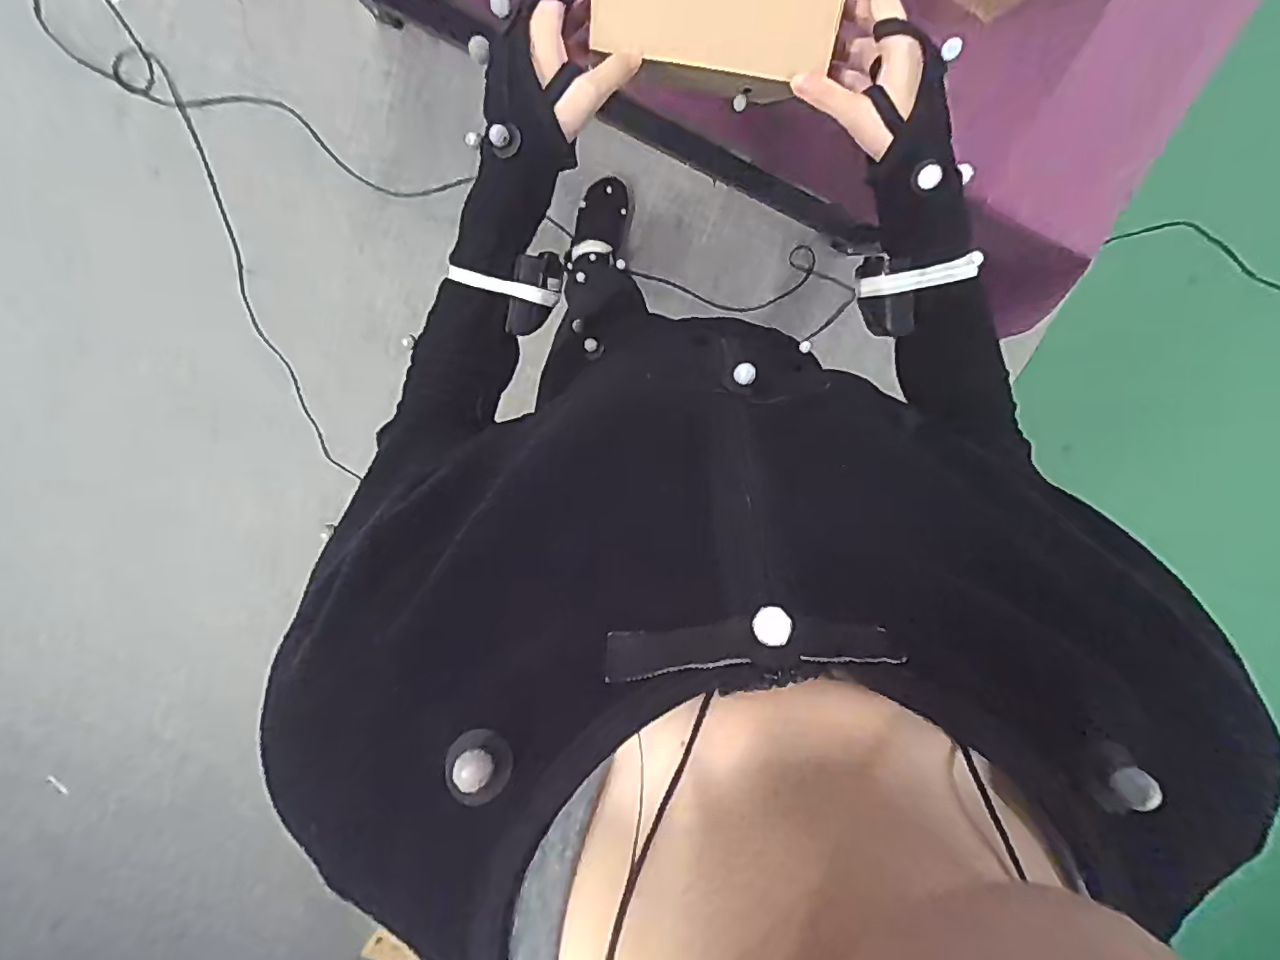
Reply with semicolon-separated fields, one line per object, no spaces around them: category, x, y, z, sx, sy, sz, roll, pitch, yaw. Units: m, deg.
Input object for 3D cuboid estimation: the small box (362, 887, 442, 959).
small box;-0.787;1.500;1.797;0.179;0.176;0.168;29;106;-14
